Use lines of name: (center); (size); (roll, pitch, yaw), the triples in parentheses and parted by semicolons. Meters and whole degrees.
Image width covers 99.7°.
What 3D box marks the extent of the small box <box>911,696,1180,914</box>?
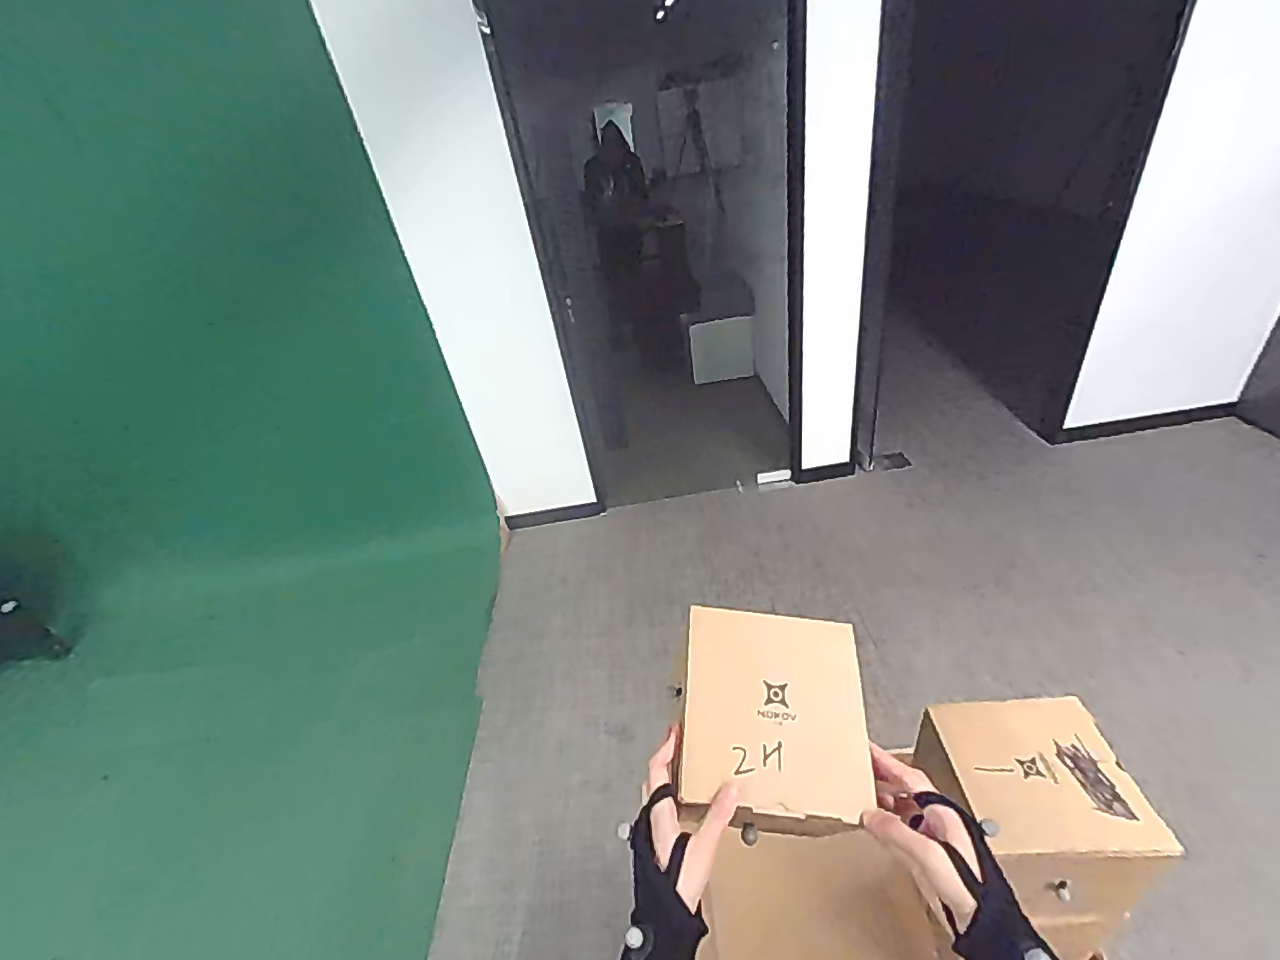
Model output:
small box: (0.440, 0.374, 0.627); (0.179, 0.176, 0.168); (-6, 34, 7)

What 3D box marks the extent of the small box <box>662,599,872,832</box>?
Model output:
small box: (0.116, 0.246, 0.559); (0.168, 0.176, 0.179); (7, 55, 2)
